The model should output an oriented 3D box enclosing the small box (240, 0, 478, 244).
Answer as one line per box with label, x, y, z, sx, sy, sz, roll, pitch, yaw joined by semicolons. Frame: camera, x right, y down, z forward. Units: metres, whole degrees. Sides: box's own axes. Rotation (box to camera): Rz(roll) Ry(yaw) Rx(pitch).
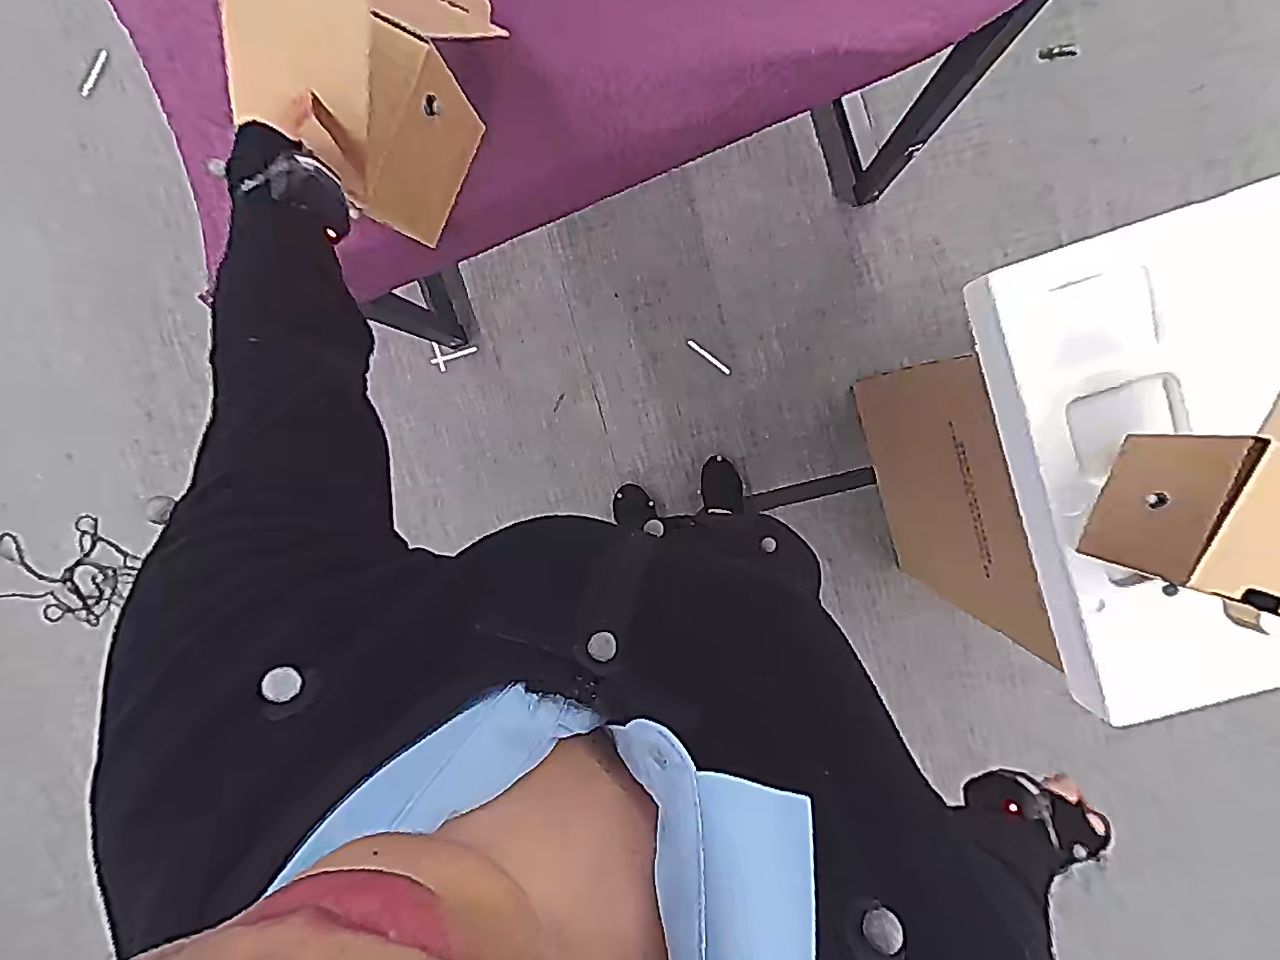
small box;-0.321;-0.426;0.658;0.168;0.176;0.179;27;96;2
